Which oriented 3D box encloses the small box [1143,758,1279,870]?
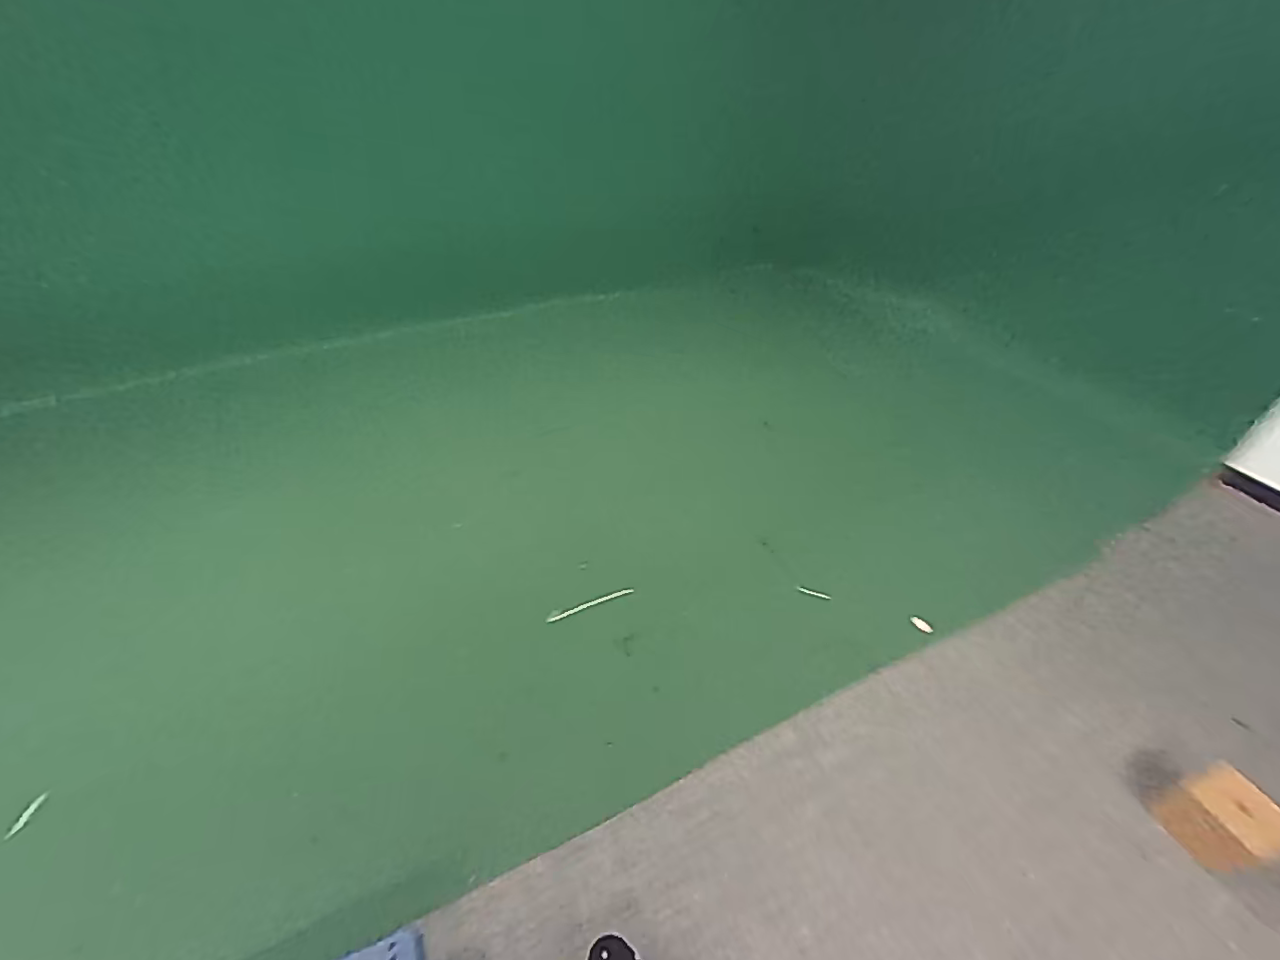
[{"bbox_3d":[1.479,0.862,1.397,0.168,0.176,0.179,-15,45,-15],"label":"small box"}]
